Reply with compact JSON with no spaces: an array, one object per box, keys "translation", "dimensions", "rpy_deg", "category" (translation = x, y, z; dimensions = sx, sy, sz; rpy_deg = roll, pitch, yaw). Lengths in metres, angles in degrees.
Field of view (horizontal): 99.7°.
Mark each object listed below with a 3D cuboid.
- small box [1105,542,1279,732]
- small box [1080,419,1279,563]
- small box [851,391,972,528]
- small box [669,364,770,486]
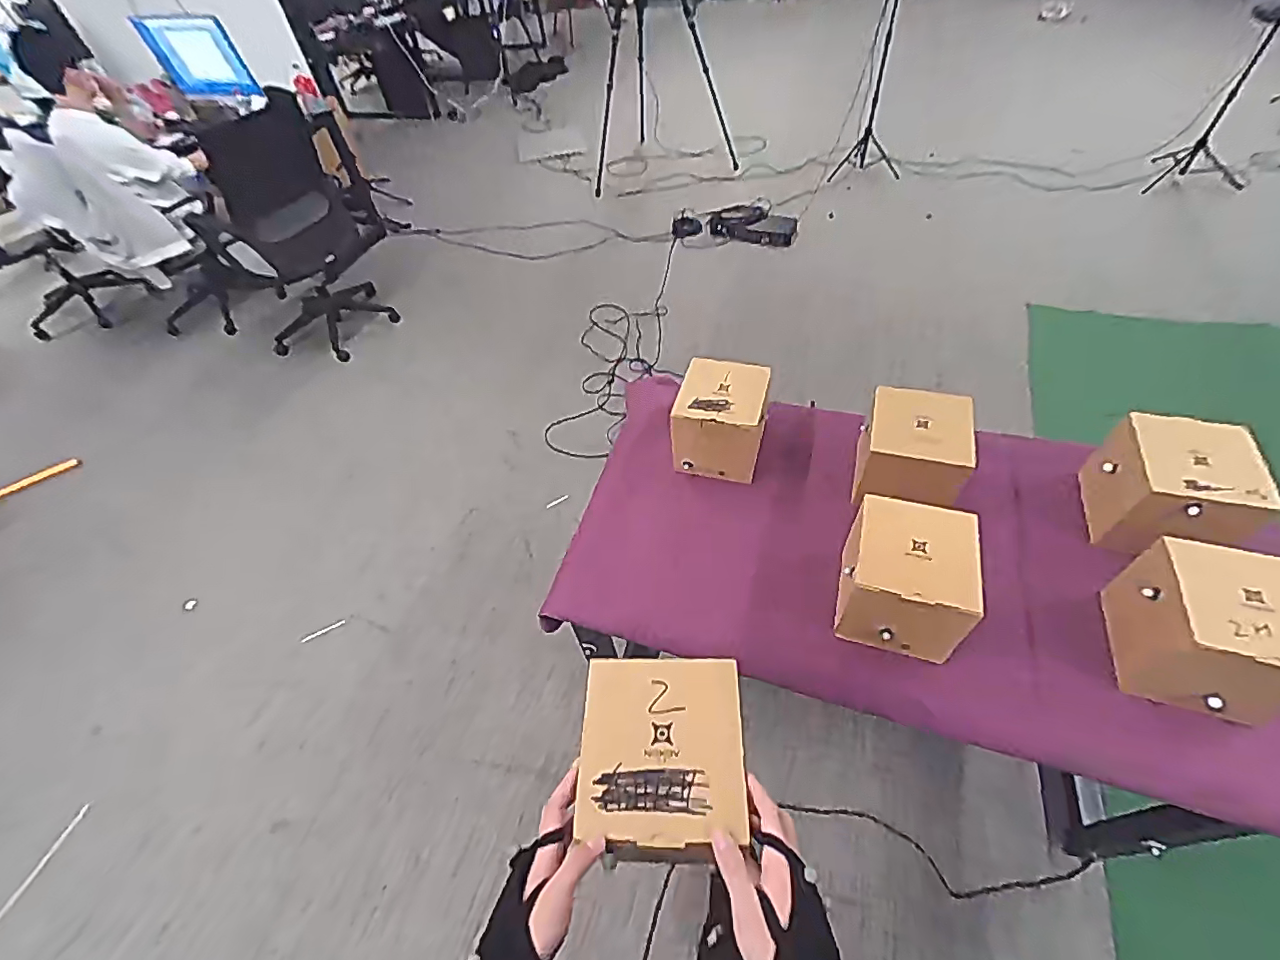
[{"translation":[0.798,0.219,0.758],"dimensions":[0.168,0.176,0.179],"rpy_deg":[12,51,18],"category":"small box"},{"translation":[0.886,0.026,0.913],"dimensions":[0.168,0.176,0.179],"rpy_deg":[11,53,16],"category":"small box"},{"translation":[0.503,-0.039,1.015],"dimensions":[0.168,0.176,0.179],"rpy_deg":[11,53,17],"category":"small box"},{"translation":[0.165,-0.111,1.111],"dimensions":[0.168,0.176,0.179],"rpy_deg":[11,52,15],"category":"small box"}]
